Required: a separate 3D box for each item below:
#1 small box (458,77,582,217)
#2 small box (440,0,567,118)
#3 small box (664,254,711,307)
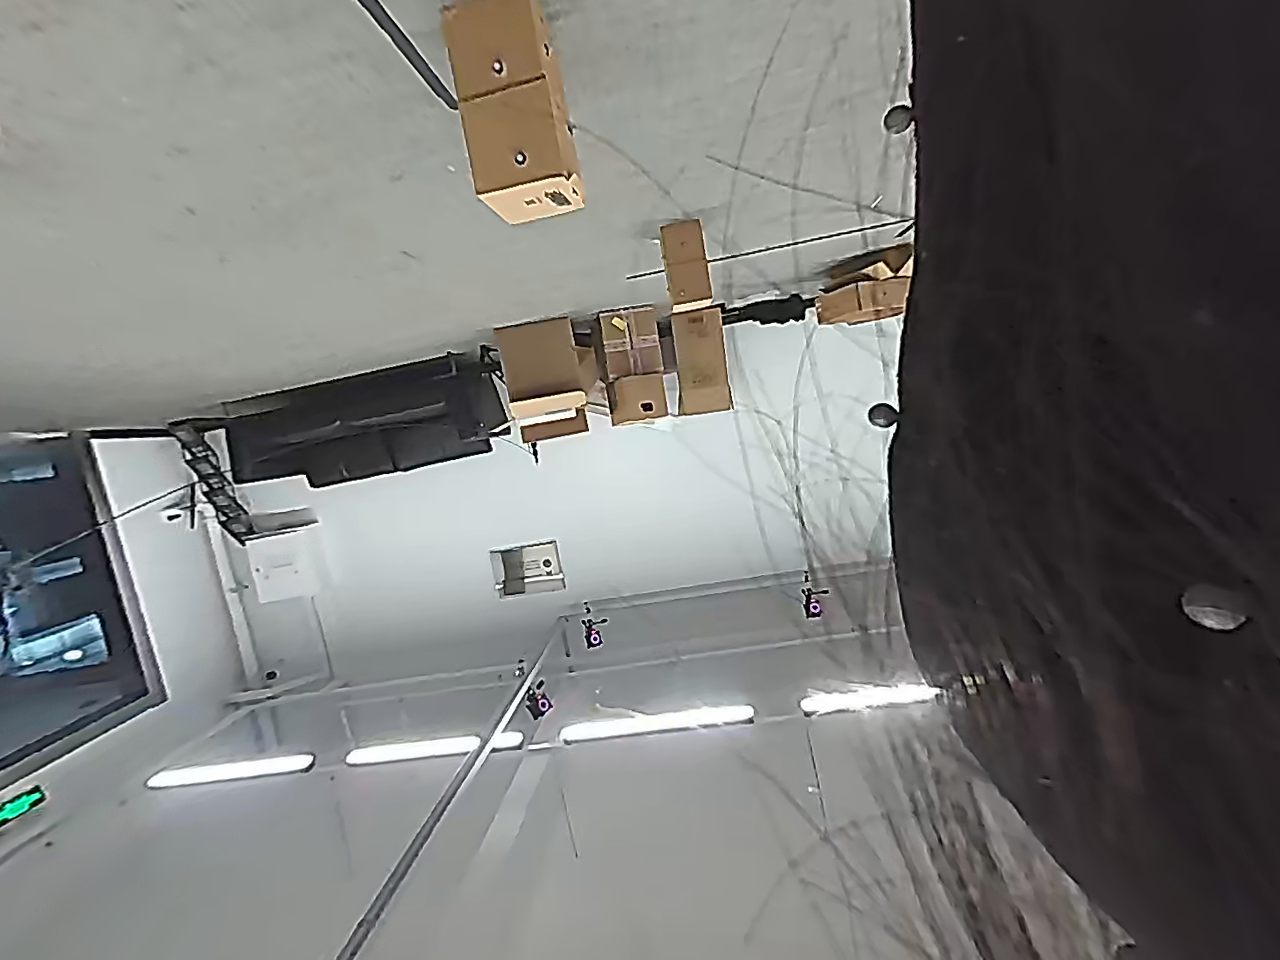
[{"bbox_3d":[-0.230,-0.647,1.060,0.179,0.176,0.168,-9,-173,10],"label":"small box"},{"bbox_3d":[-0.259,-0.808,1.047,0.179,0.176,0.168,-8,-174,11],"label":"small box"},{"bbox_3d":[0.206,-0.883,2.392,0.179,0.176,0.168,-11,-173,2],"label":"small box"}]
